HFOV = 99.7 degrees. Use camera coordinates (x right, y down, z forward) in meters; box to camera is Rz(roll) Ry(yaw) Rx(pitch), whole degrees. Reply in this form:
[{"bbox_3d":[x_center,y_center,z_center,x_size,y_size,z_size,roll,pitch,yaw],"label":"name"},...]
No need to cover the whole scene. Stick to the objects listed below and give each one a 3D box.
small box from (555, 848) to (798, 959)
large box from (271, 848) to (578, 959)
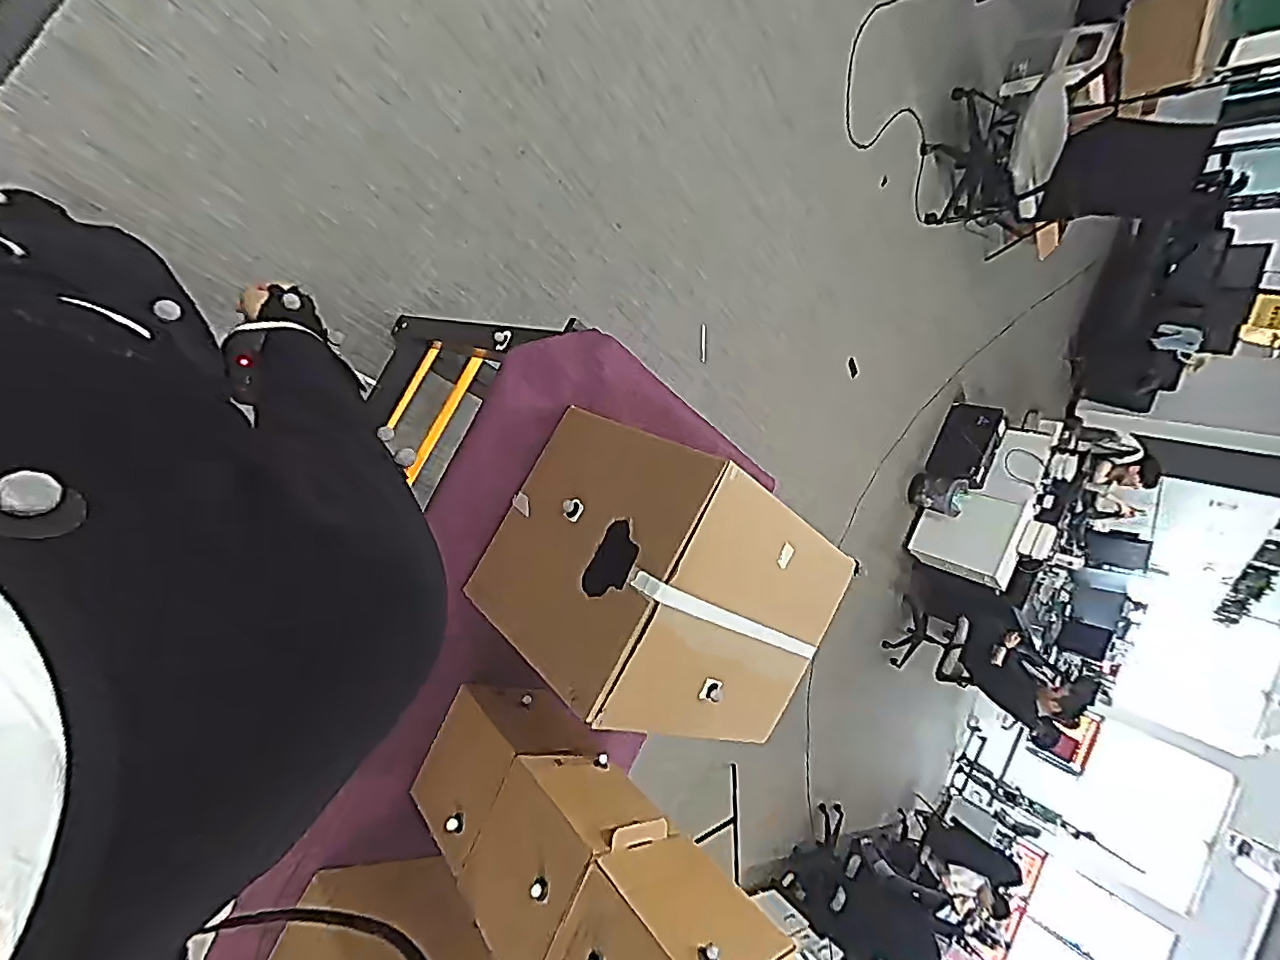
[{"bbox_3d":[0.027,0.524,0.562,0.179,0.176,0.168,26,87,-45],"label":"small box"},{"bbox_3d":[-0.281,0.770,0.731,0.408,0.320,0.320,33,82,-46],"label":"large box"}]
